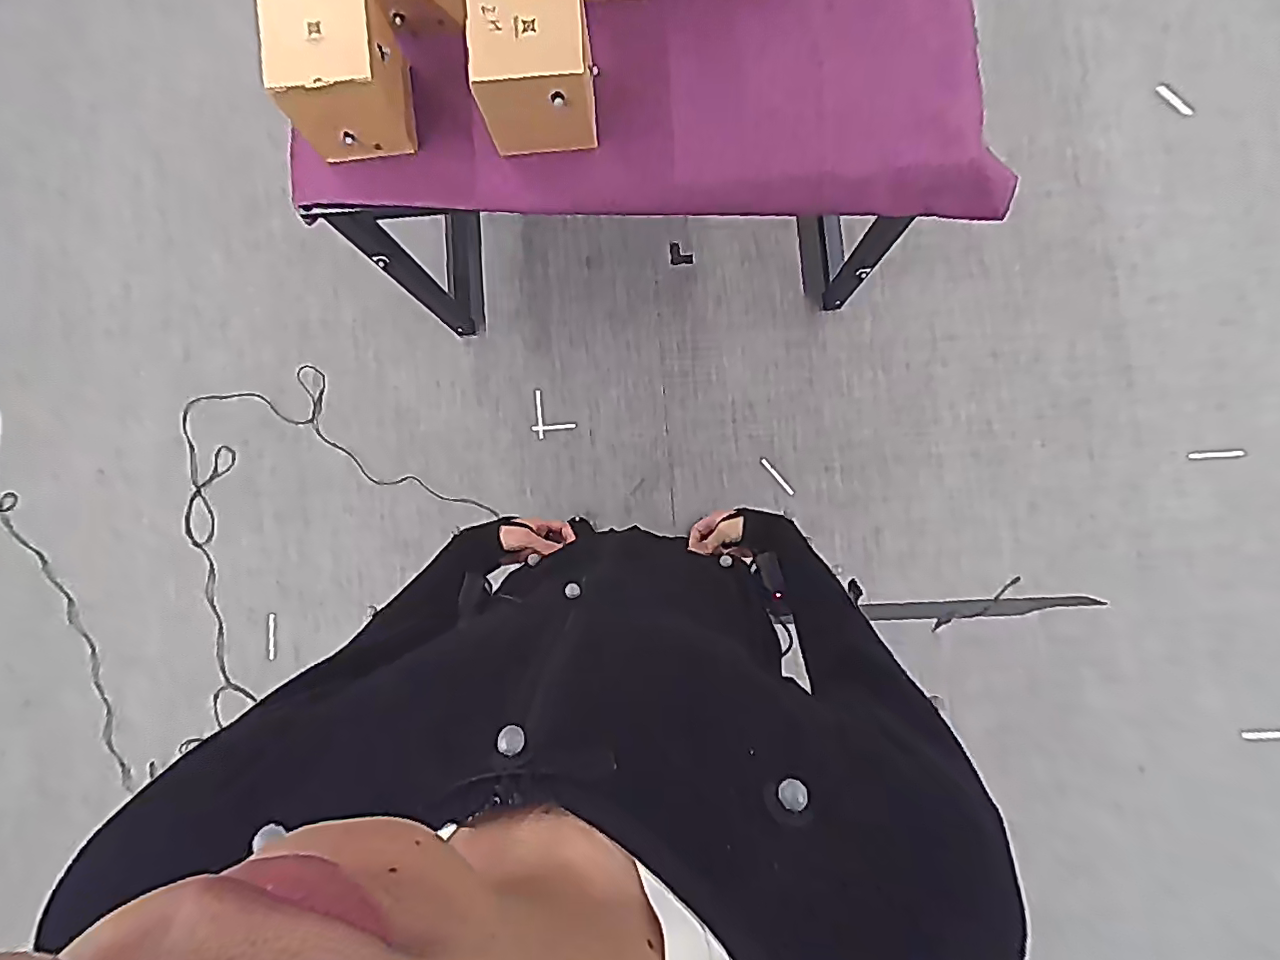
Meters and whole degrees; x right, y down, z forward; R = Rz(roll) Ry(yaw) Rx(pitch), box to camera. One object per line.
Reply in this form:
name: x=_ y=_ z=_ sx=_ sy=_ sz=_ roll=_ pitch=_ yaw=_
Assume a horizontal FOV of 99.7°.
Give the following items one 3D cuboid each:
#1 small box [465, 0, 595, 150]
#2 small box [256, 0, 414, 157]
small box: x=-0.168 y=-0.670 z=0.876 sx=0.179 sy=0.176 sz=0.168 roll=-3 pitch=86 yaw=3
small box: x=-0.490 y=-0.673 z=0.889 sx=0.168 sy=0.176 sz=0.179 roll=-7 pitch=87 yaw=0
